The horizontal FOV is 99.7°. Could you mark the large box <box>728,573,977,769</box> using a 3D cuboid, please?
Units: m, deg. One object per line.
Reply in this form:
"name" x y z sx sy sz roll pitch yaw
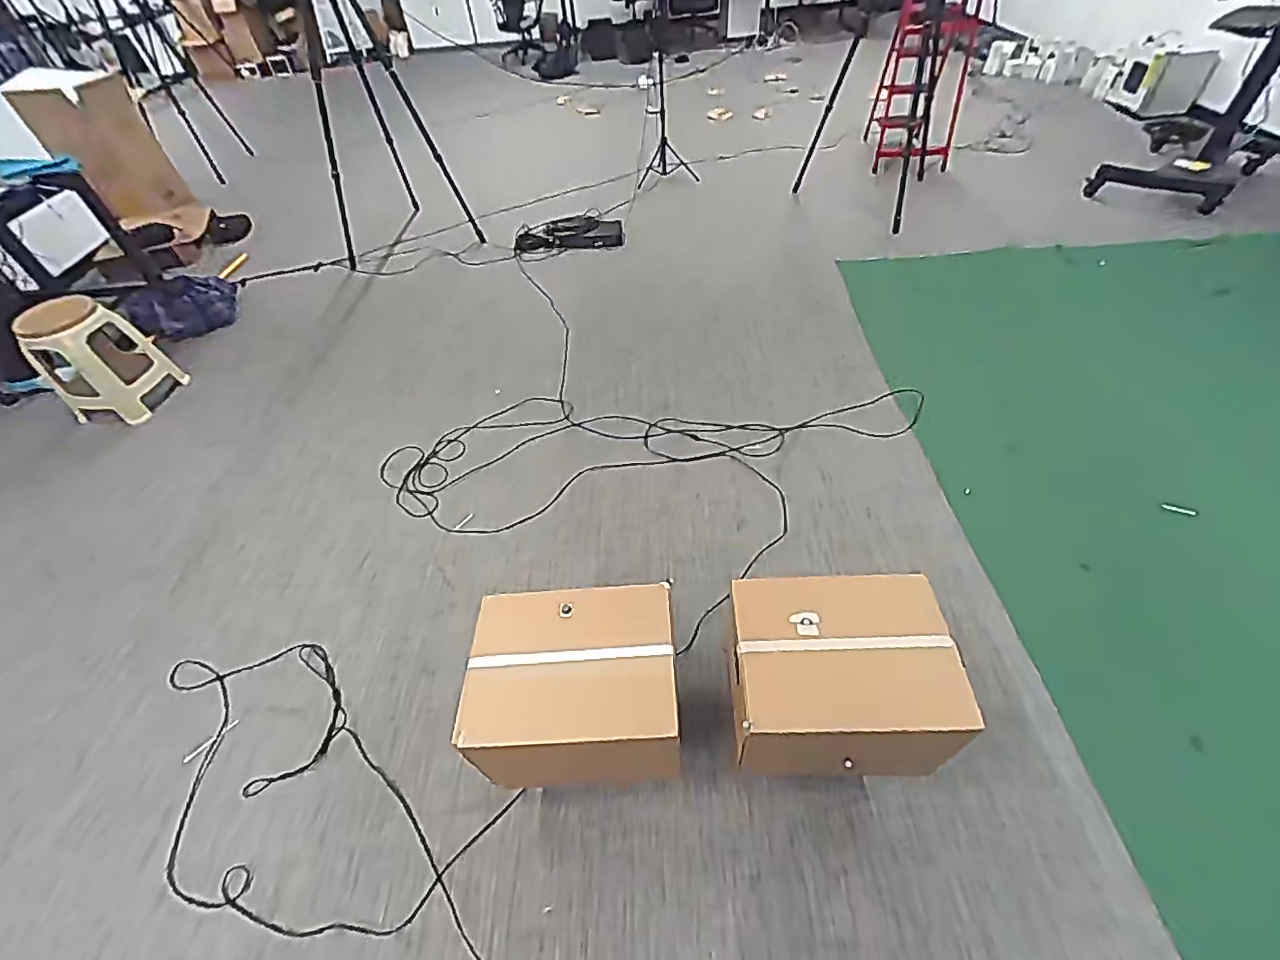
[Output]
"large box" 0.410 0.420 1.166 0.408 0.320 0.320 -3 48 4
